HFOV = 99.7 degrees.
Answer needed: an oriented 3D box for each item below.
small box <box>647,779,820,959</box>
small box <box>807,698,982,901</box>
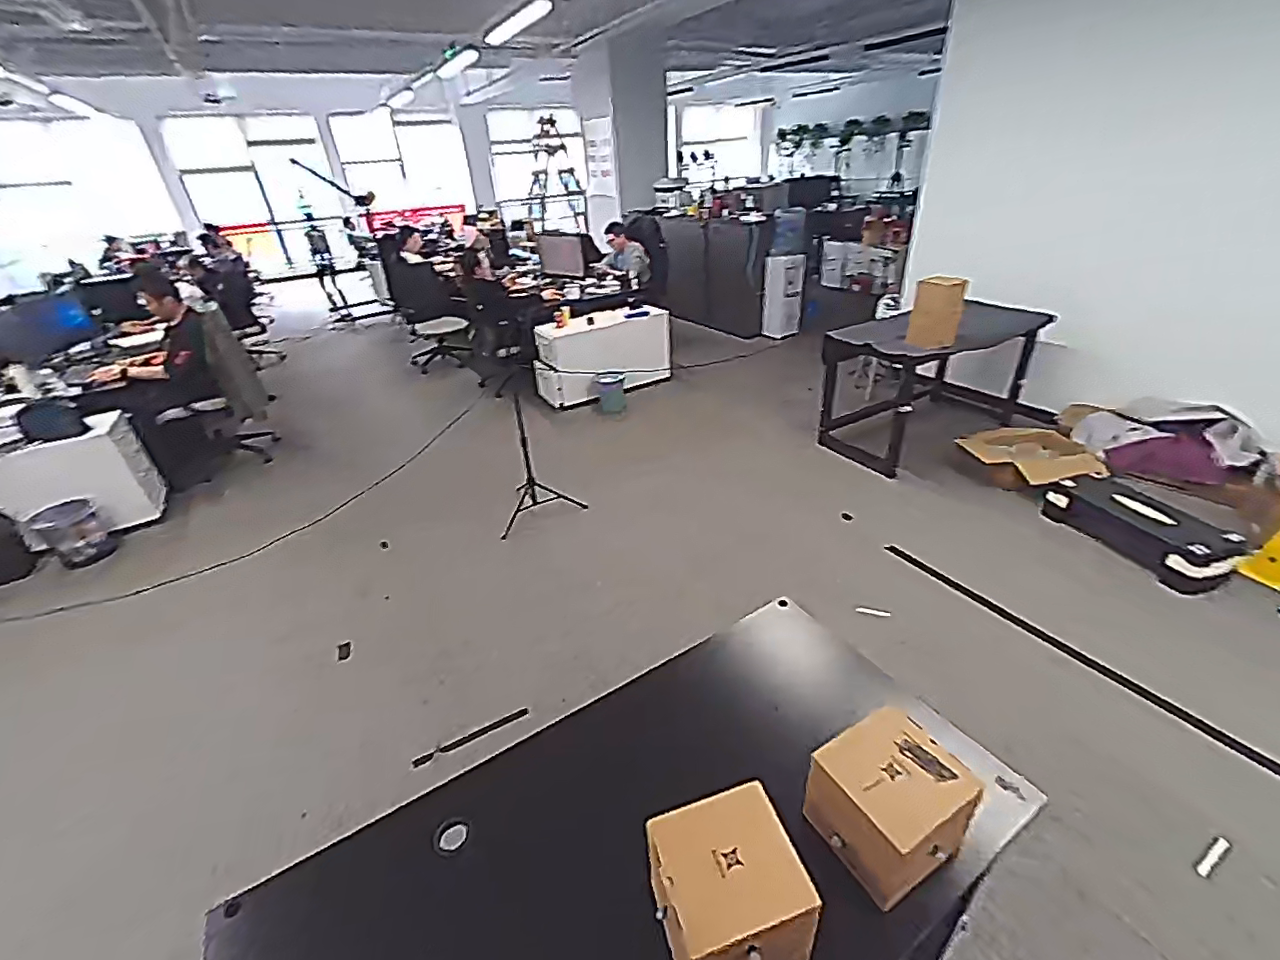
[{"bbox_3d":[0.119,0.558,0.741,0.179,0.176,0.168,-14,31,-13],"label":"small box"},{"bbox_3d":[0.375,0.482,0.827,0.179,0.176,0.168,-21,33,-23],"label":"small box"}]
